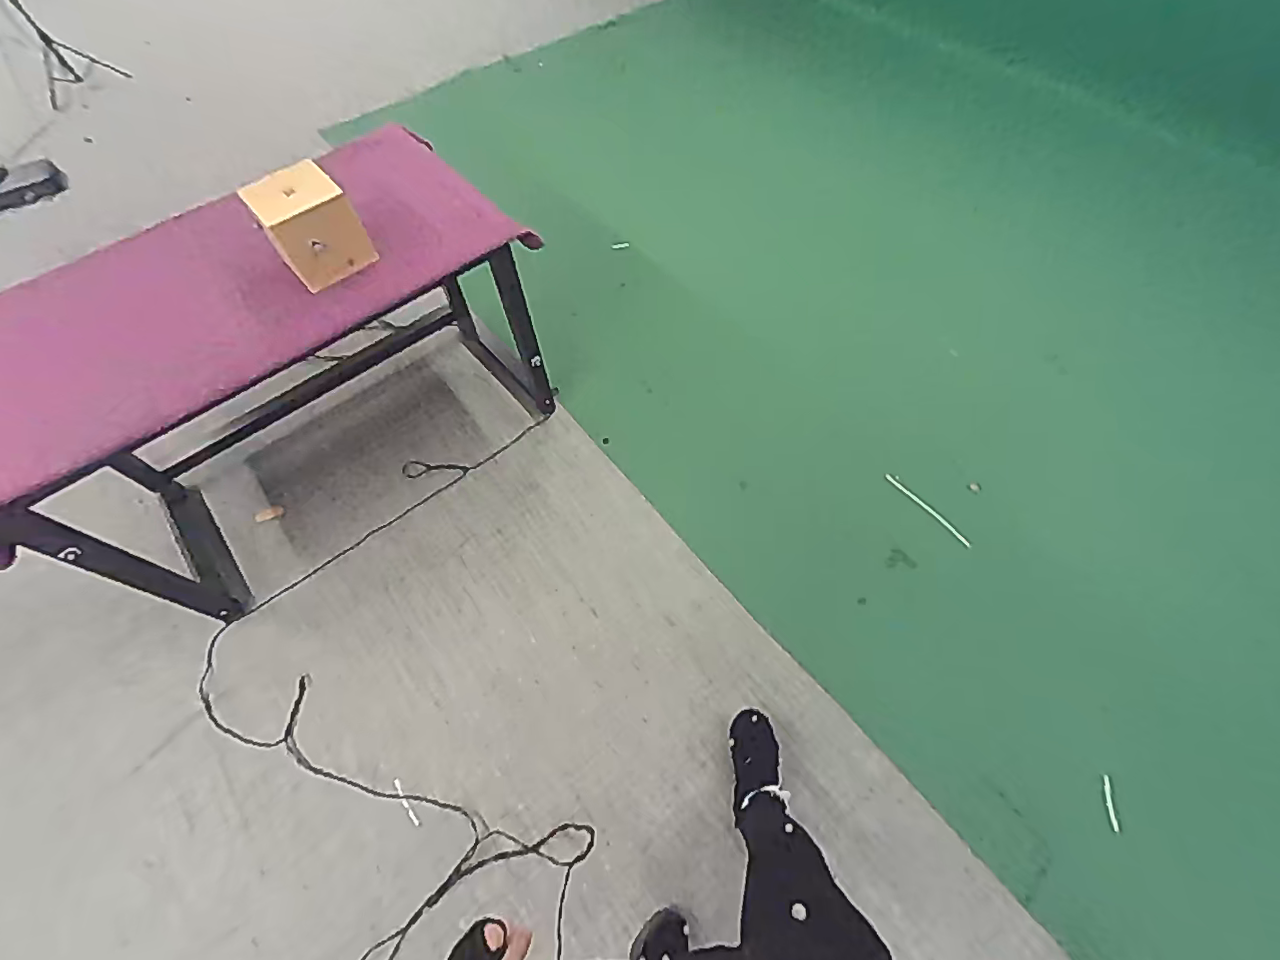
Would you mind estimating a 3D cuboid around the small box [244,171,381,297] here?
[{"bbox_3d":[-0.711,-0.533,1.190,0.168,0.176,0.179,-38,64,-17],"label":"small box"}]
